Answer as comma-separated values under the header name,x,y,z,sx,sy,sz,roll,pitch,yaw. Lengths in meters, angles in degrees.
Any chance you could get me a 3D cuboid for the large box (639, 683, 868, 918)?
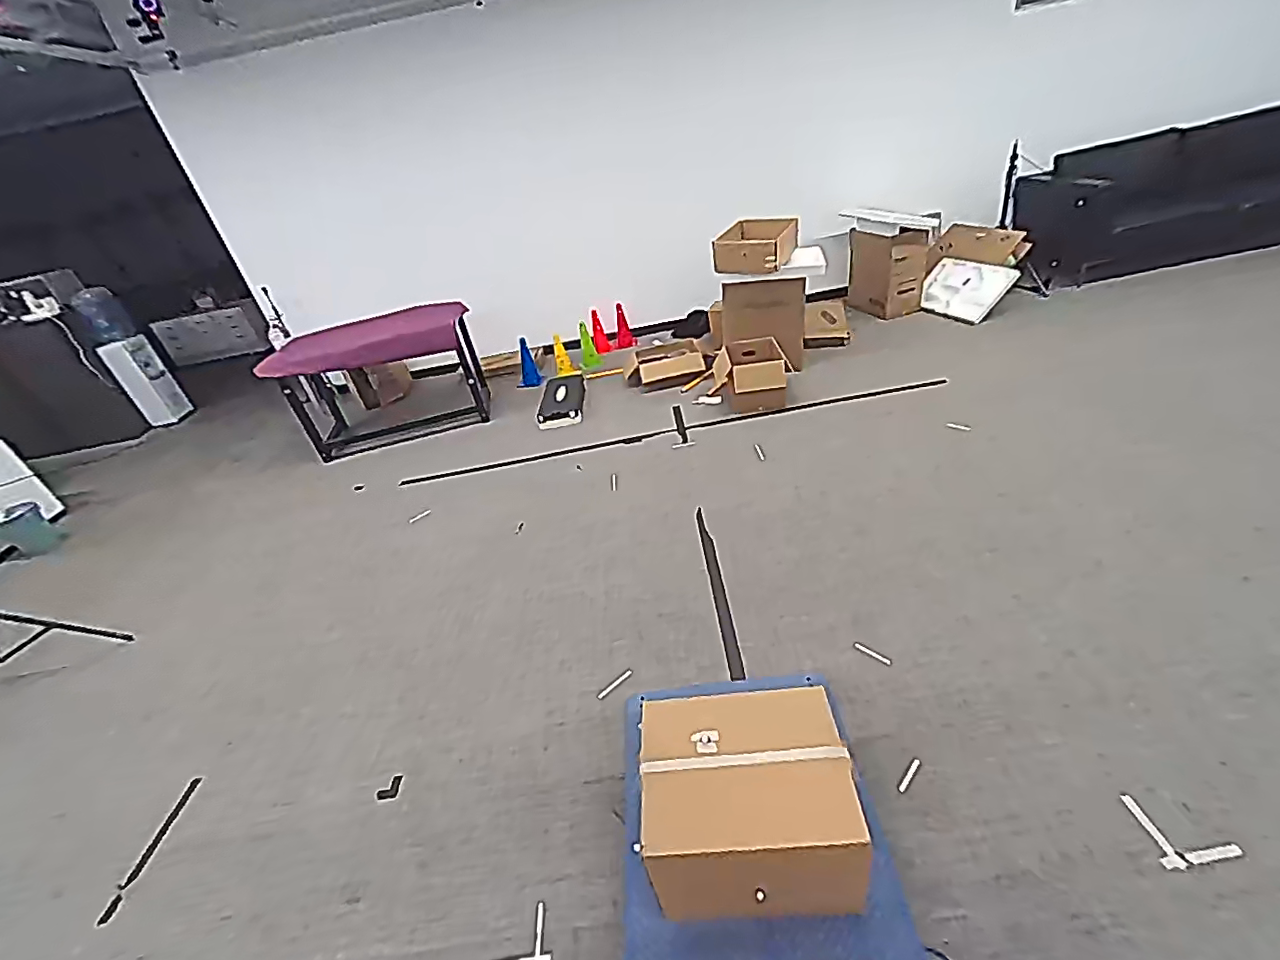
name,x,y,z,sx,sy,sz,roll,pitch,yaw
large box,0.224,0.675,1.144,0.408,0.320,0.320,-9,32,7
